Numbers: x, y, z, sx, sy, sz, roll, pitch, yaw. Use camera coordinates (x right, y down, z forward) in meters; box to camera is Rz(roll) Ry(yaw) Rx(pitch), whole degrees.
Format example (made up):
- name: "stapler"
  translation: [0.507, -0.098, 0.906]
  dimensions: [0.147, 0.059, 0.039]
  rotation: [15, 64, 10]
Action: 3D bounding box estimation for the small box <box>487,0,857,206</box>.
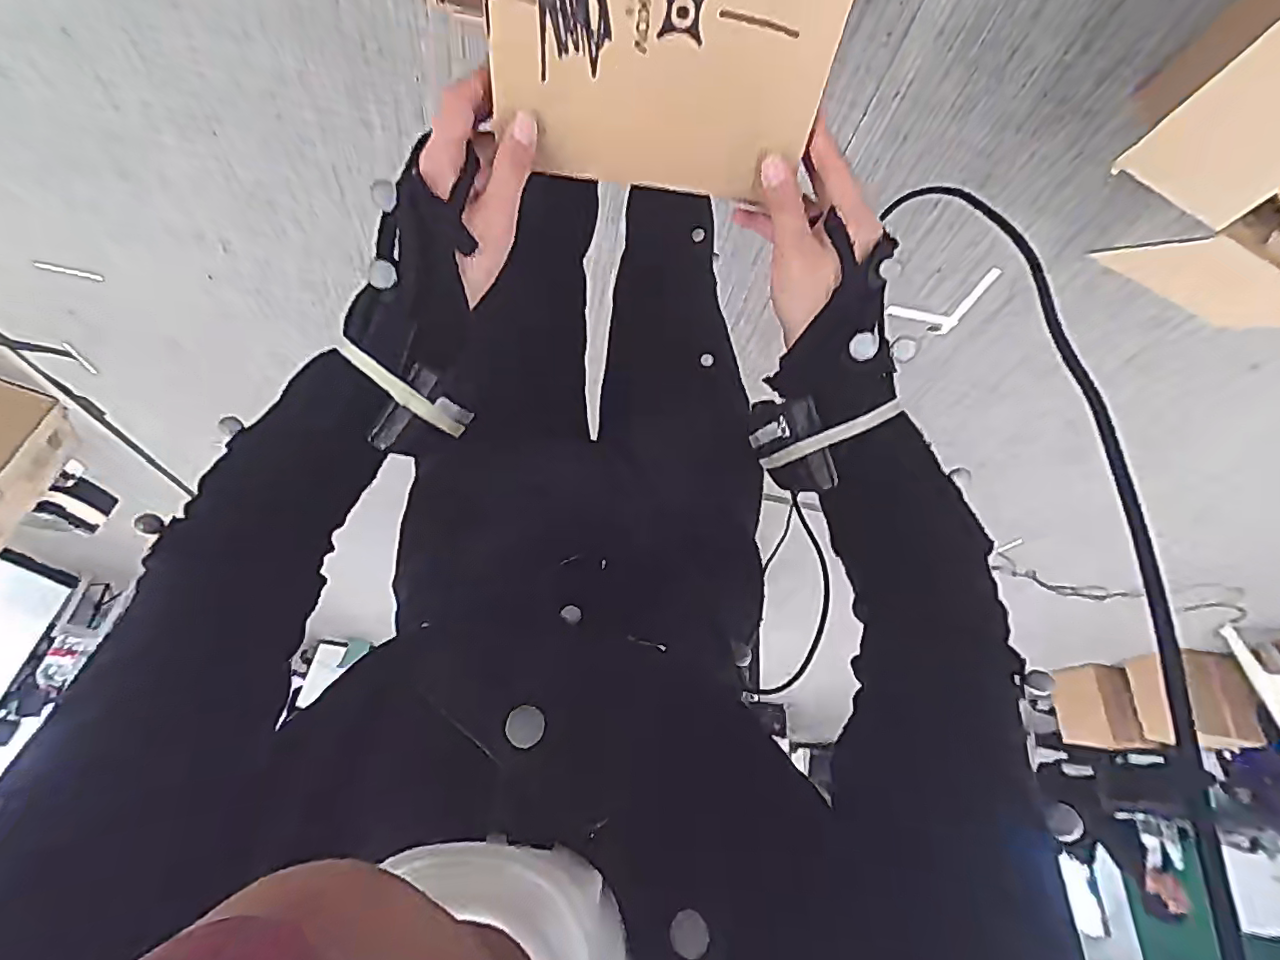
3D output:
- name: "small box"
  translation: [0.021, -0.287, 0.305]
  dimensions: [0.179, 0.176, 0.168]
  rotation: [9, 141, -2]
